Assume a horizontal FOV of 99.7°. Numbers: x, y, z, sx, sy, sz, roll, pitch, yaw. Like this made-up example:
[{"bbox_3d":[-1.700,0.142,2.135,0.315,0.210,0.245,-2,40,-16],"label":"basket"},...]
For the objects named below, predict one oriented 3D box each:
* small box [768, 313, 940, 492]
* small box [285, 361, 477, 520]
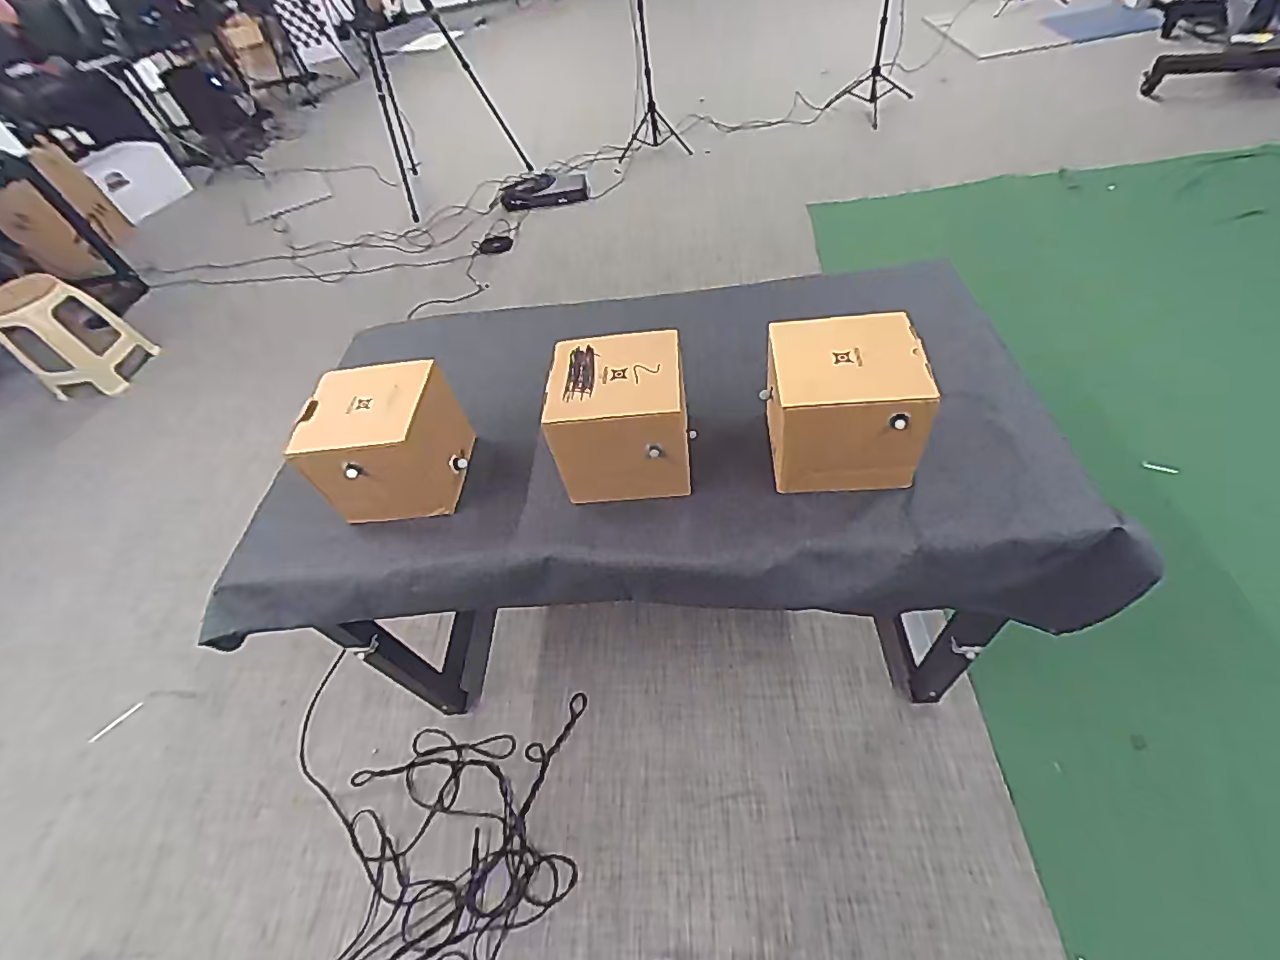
[{"bbox_3d":[0.266,-0.097,0.721,0.179,0.176,0.168,-3,51,9],"label":"small box"},{"bbox_3d":[-0.369,-0.053,0.809,0.179,0.176,0.168,-5,52,6],"label":"small box"}]
